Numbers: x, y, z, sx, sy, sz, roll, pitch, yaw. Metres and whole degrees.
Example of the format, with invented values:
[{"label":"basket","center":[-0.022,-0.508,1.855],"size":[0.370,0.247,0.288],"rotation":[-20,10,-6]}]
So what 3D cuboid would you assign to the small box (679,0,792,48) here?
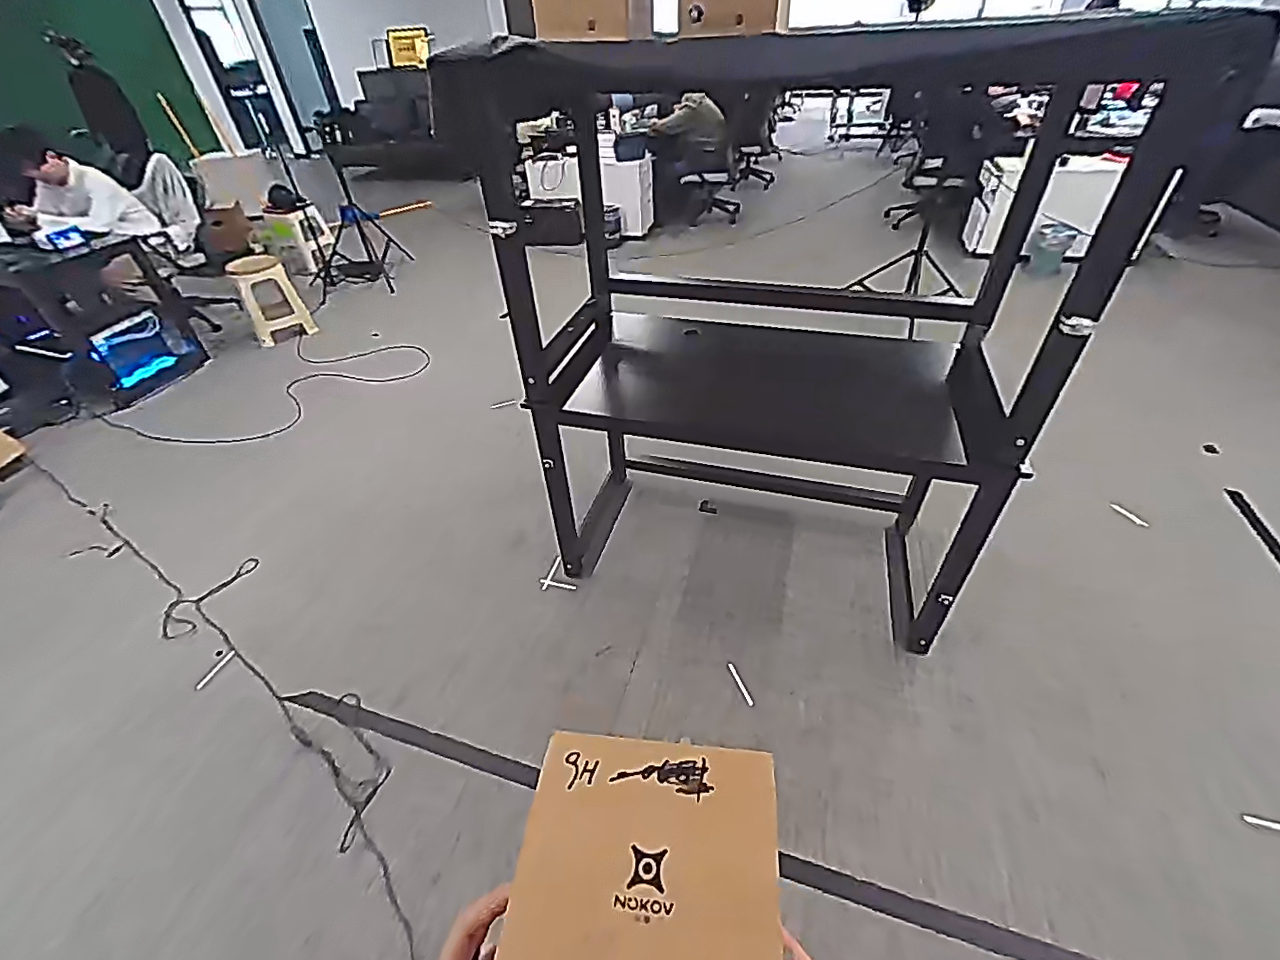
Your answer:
[{"label":"small box","center":[0.162,-0.829,0.892],"size":[0.168,0.176,0.179],"rotation":[10,39,16]}]

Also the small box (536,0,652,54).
[{"label":"small box","center":[-0.077,-0.850,0.935],"size":[0.168,0.176,0.179],"rotation":[10,39,13]}]

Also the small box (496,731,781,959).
[{"label":"small box","center":[0.010,0.308,0.385],"size":[0.168,0.176,0.179],"rotation":[2,43,9]}]
